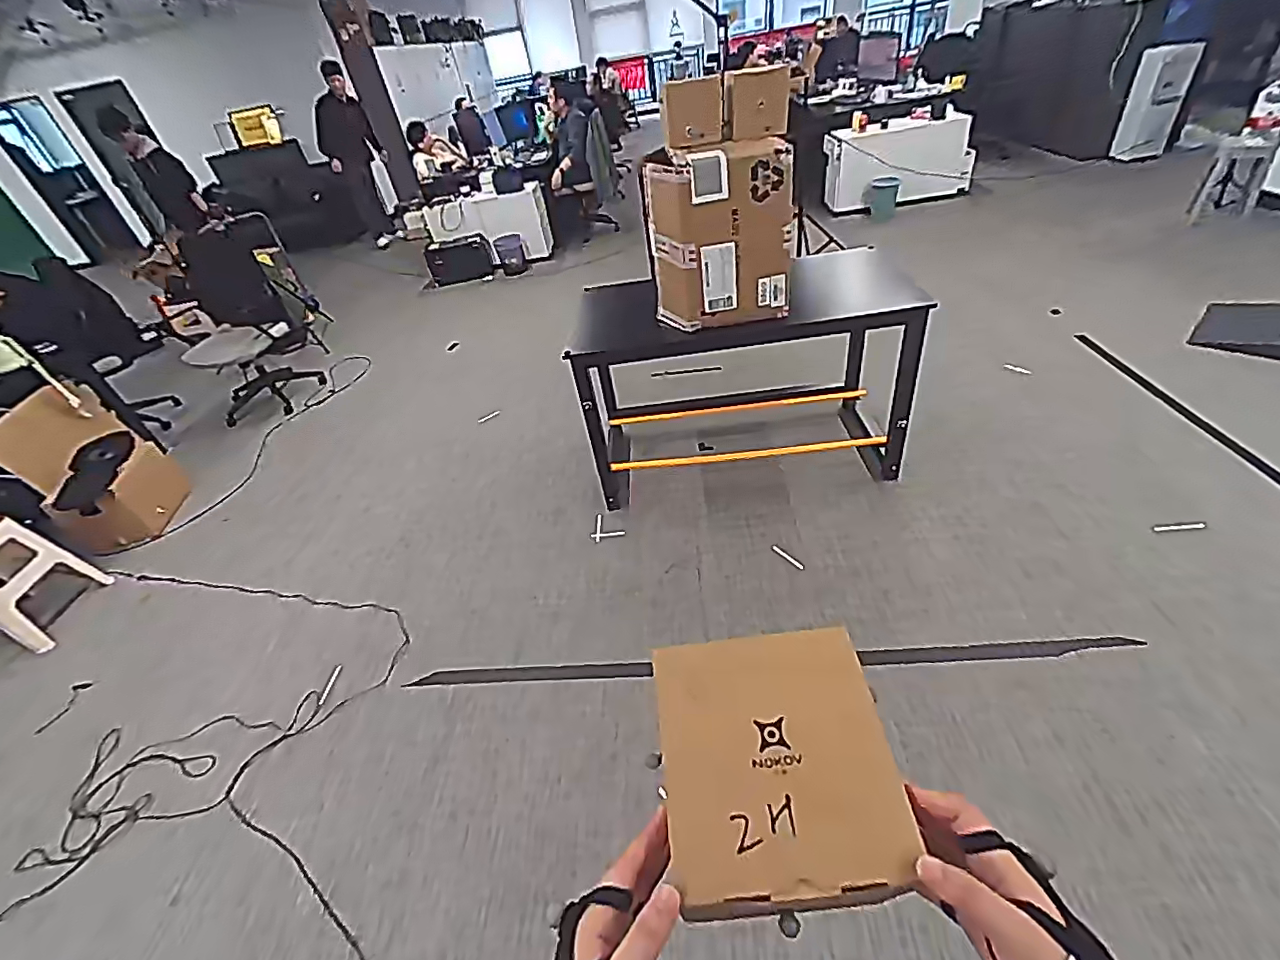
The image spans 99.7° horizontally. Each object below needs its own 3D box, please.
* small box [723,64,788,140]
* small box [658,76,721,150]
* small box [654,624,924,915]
[{"bbox_3d":[0.351,-1.160,1.663,0.168,0.176,0.179,-6,39,2],"label":"small box"},{"bbox_3d":[0.154,-1.144,1.686,0.168,0.176,0.179,-10,37,0],"label":"small box"},{"bbox_3d":[0.104,0.247,0.461,0.168,0.176,0.179,-7,47,2],"label":"small box"}]
